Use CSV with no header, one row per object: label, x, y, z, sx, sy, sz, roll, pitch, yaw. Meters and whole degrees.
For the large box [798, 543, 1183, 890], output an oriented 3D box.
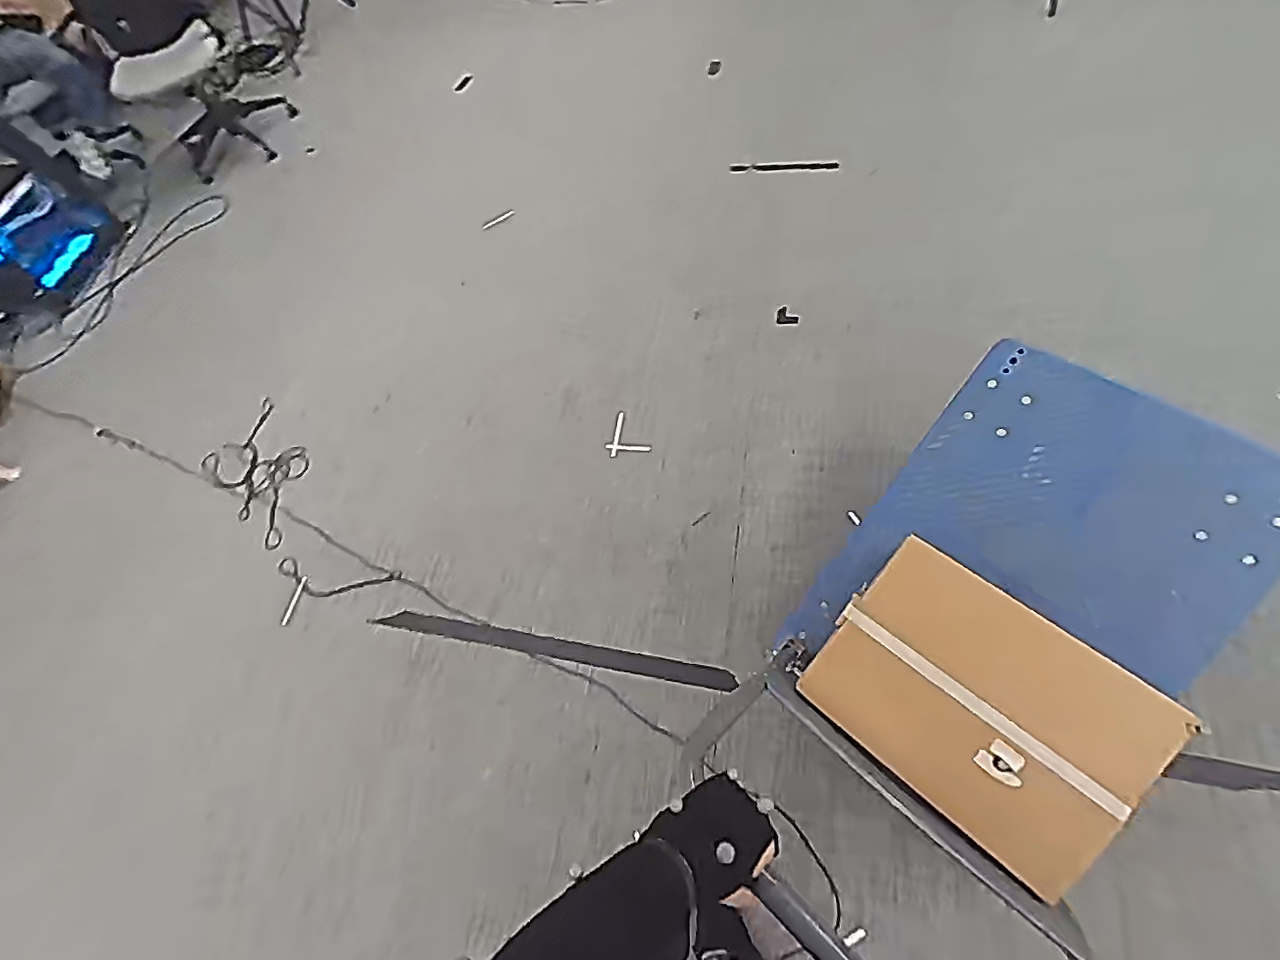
large box,0.541,0.357,0.937,0.408,0.320,0.320,37,94,24
